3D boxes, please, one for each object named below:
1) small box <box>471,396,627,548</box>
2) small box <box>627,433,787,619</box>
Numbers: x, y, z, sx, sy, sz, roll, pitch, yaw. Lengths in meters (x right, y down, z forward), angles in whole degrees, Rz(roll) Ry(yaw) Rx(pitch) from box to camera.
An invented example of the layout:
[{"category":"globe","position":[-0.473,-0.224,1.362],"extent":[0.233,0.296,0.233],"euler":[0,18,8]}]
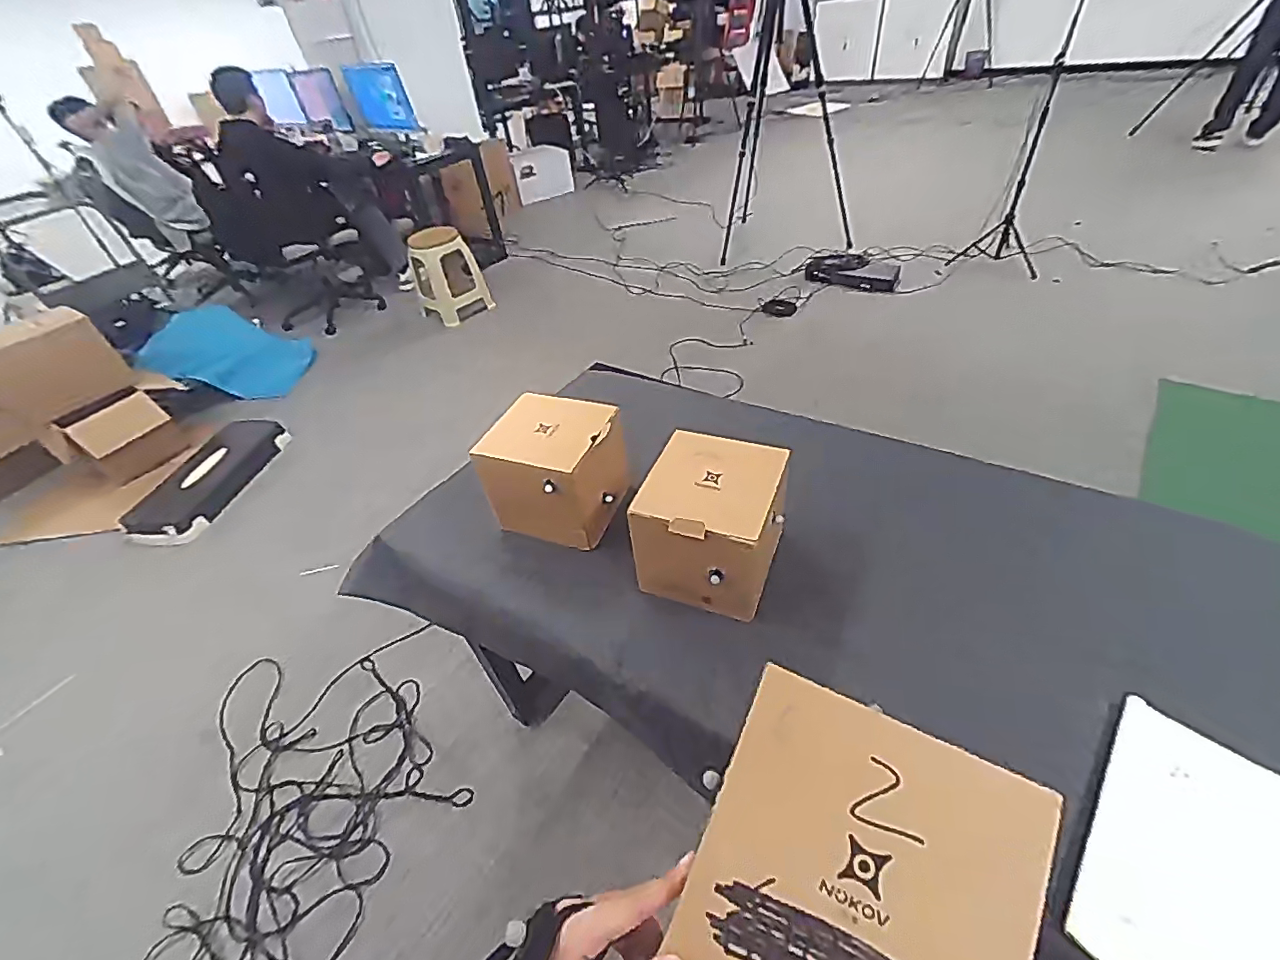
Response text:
[{"category":"small box","position":[-0.134,-0.014,0.870],"extent":[0.179,0.176,0.168],"euler":[11,45,19]},{"category":"small box","position":[0.098,0.063,0.749],"extent":[0.168,0.176,0.179],"euler":[13,45,20]}]
